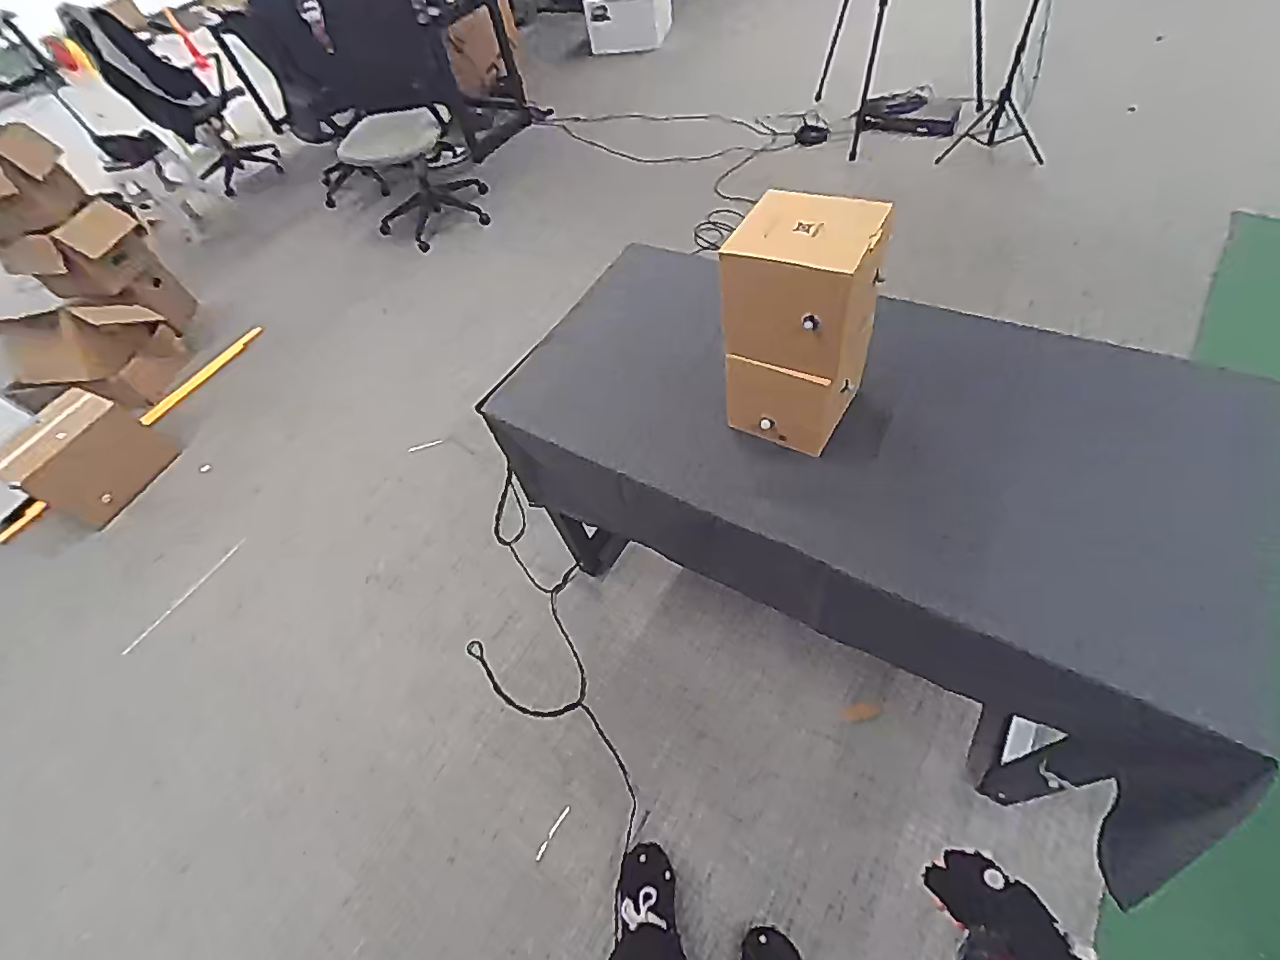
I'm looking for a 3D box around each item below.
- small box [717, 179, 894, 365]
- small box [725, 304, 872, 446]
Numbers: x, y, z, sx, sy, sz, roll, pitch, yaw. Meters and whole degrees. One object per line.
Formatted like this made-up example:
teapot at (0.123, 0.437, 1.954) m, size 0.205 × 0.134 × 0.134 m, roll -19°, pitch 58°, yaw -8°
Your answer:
small box at (0.224, -0.287, 0.756) m, size 0.179 × 0.176 × 0.168 m, roll 22°, pitch 61°, yaw 25°
small box at (0.252, -0.189, 0.884) m, size 0.168 × 0.176 × 0.179 m, roll 25°, pitch 63°, yaw 26°
